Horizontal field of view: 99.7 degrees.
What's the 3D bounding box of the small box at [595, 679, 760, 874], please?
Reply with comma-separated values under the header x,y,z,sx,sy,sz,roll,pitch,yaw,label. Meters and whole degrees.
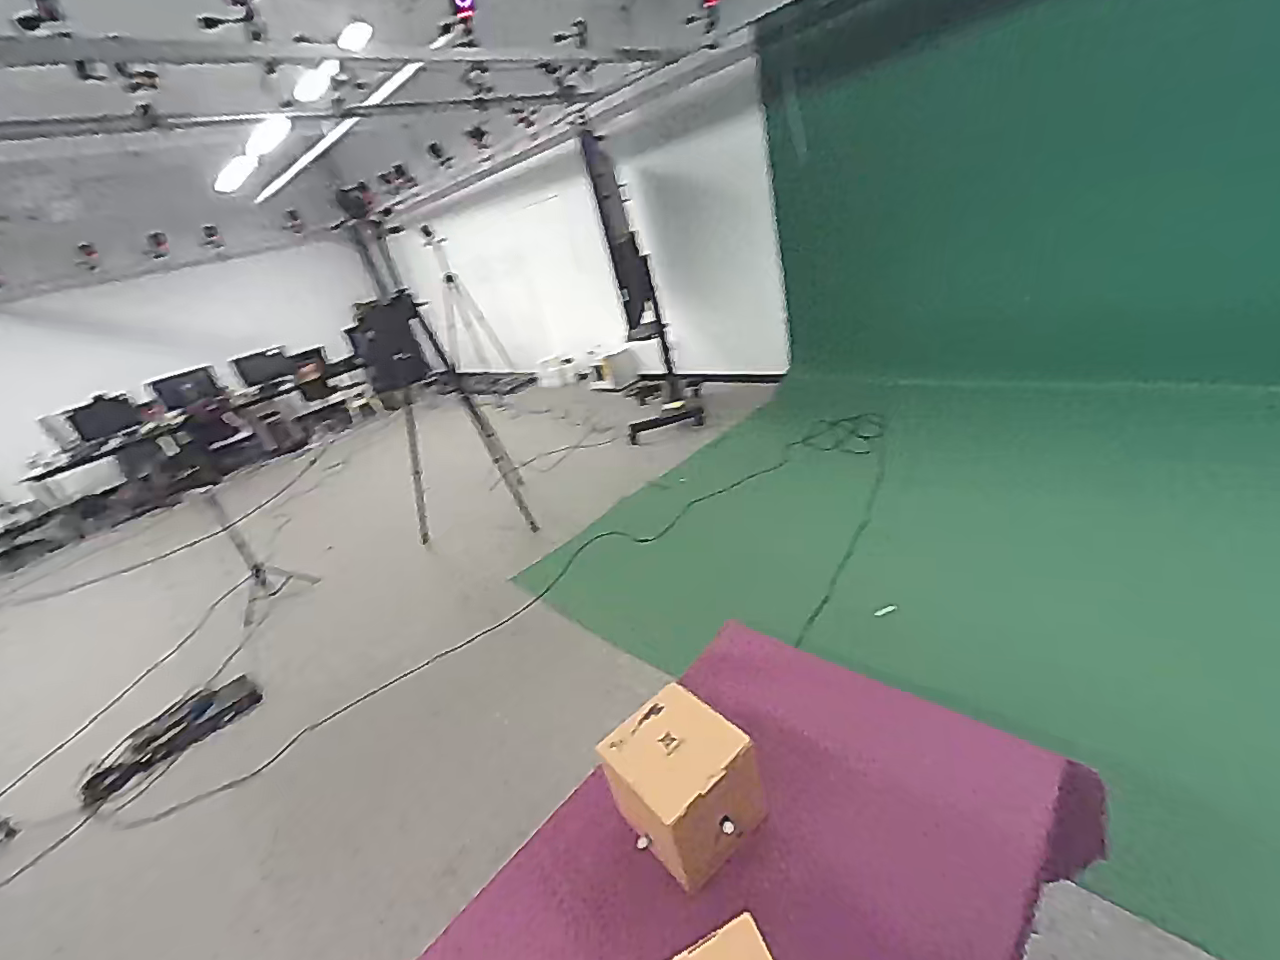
x,y,z,sx,sy,sz,roll,pitch,yaw,label
0.062,0.453,0.829,0.168,0.176,0.179,-30,30,-29,small box
